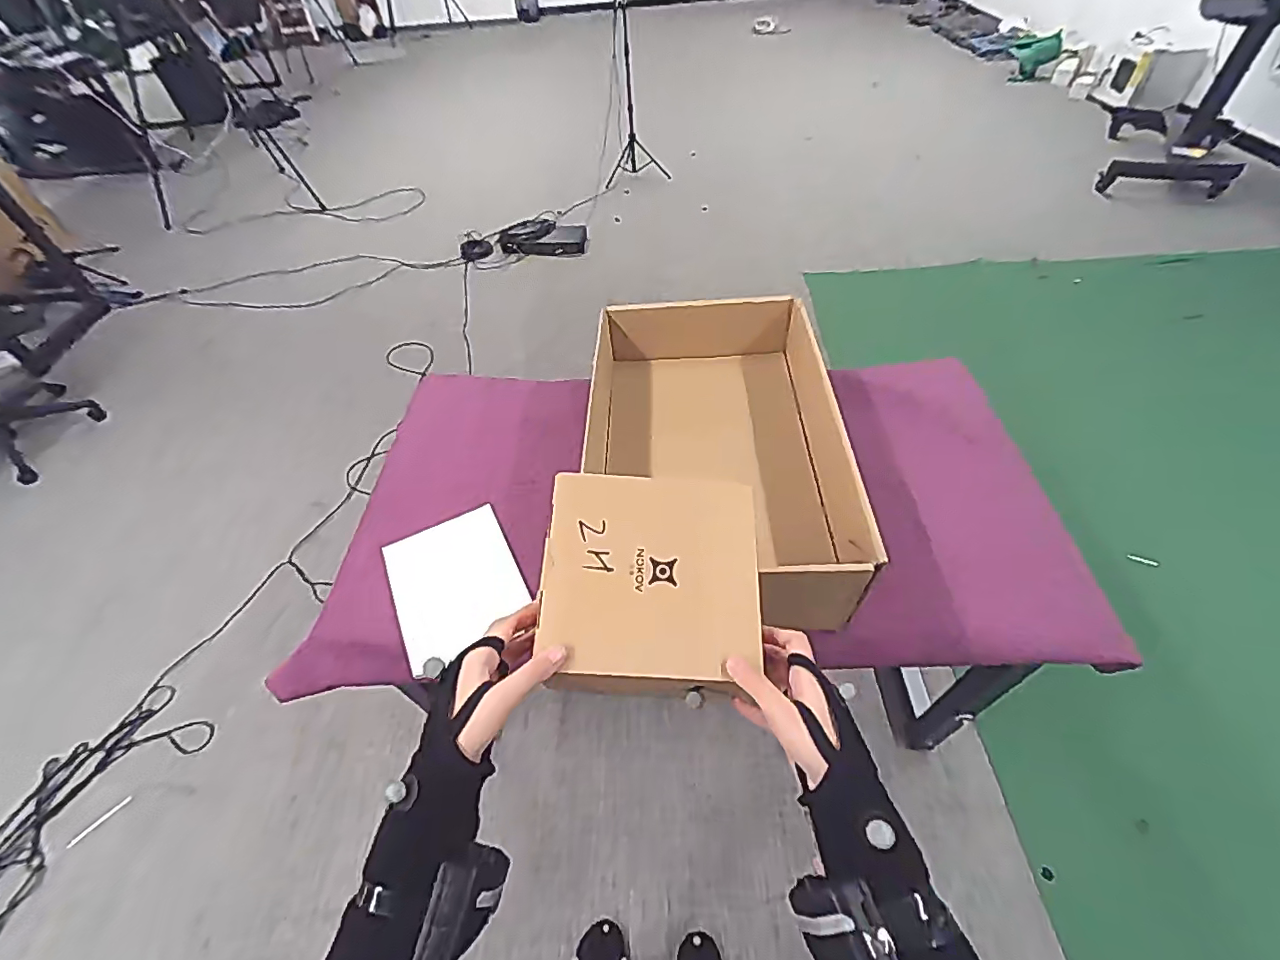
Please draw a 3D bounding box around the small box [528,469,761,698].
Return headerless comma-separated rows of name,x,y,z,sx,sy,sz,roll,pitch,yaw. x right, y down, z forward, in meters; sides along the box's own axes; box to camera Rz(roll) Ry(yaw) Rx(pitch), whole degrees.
small box,0.003,0.106,0.504,0.179,0.176,0.168,4,62,-2
